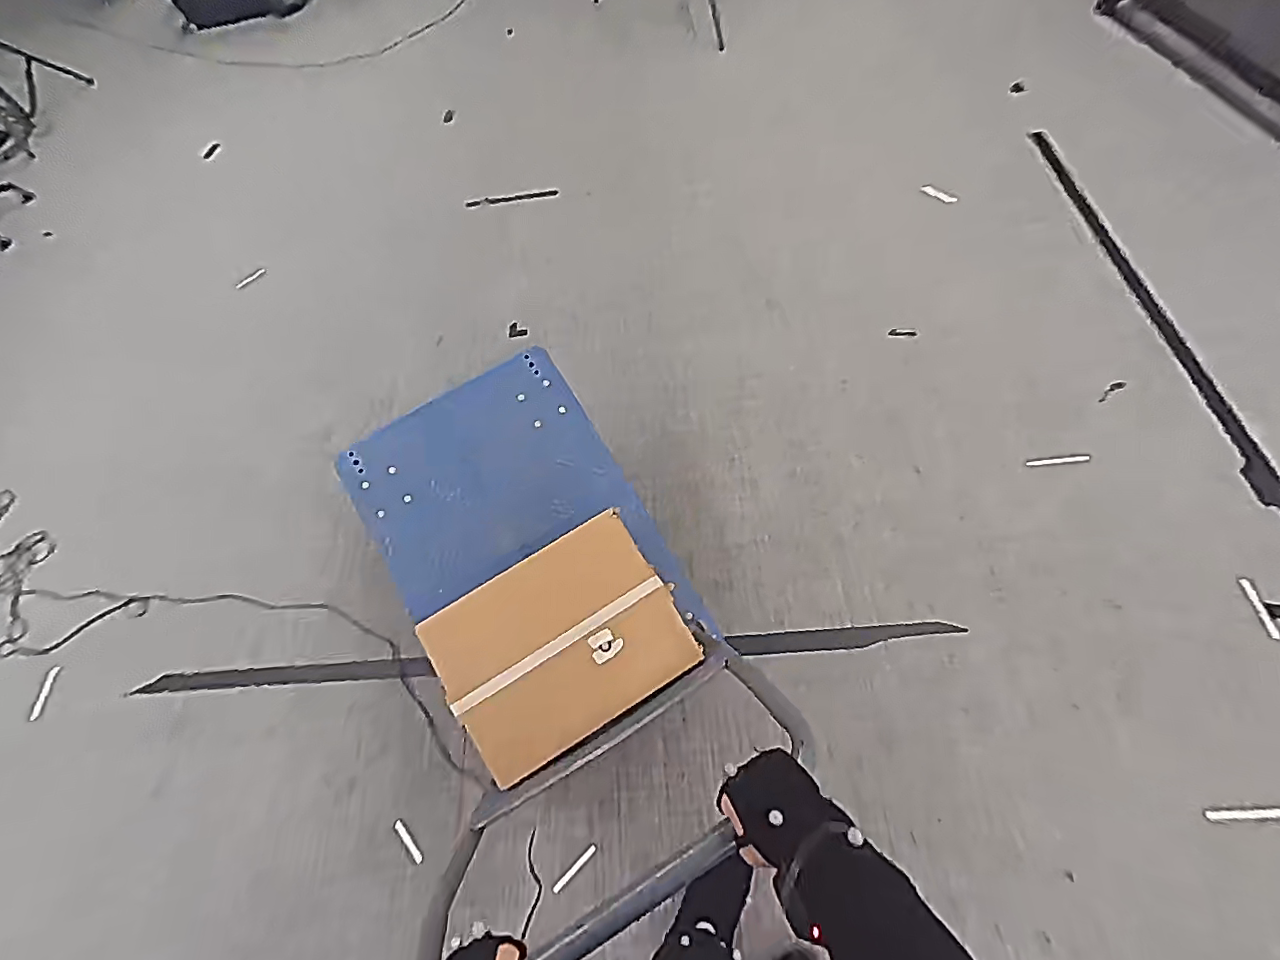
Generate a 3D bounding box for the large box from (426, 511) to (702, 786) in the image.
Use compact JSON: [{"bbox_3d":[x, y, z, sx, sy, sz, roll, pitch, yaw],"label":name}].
[{"bbox_3d":[-0.139,0.317,1.099,0.408,0.320,0.320,-32,82,-8],"label":"large box"}]
